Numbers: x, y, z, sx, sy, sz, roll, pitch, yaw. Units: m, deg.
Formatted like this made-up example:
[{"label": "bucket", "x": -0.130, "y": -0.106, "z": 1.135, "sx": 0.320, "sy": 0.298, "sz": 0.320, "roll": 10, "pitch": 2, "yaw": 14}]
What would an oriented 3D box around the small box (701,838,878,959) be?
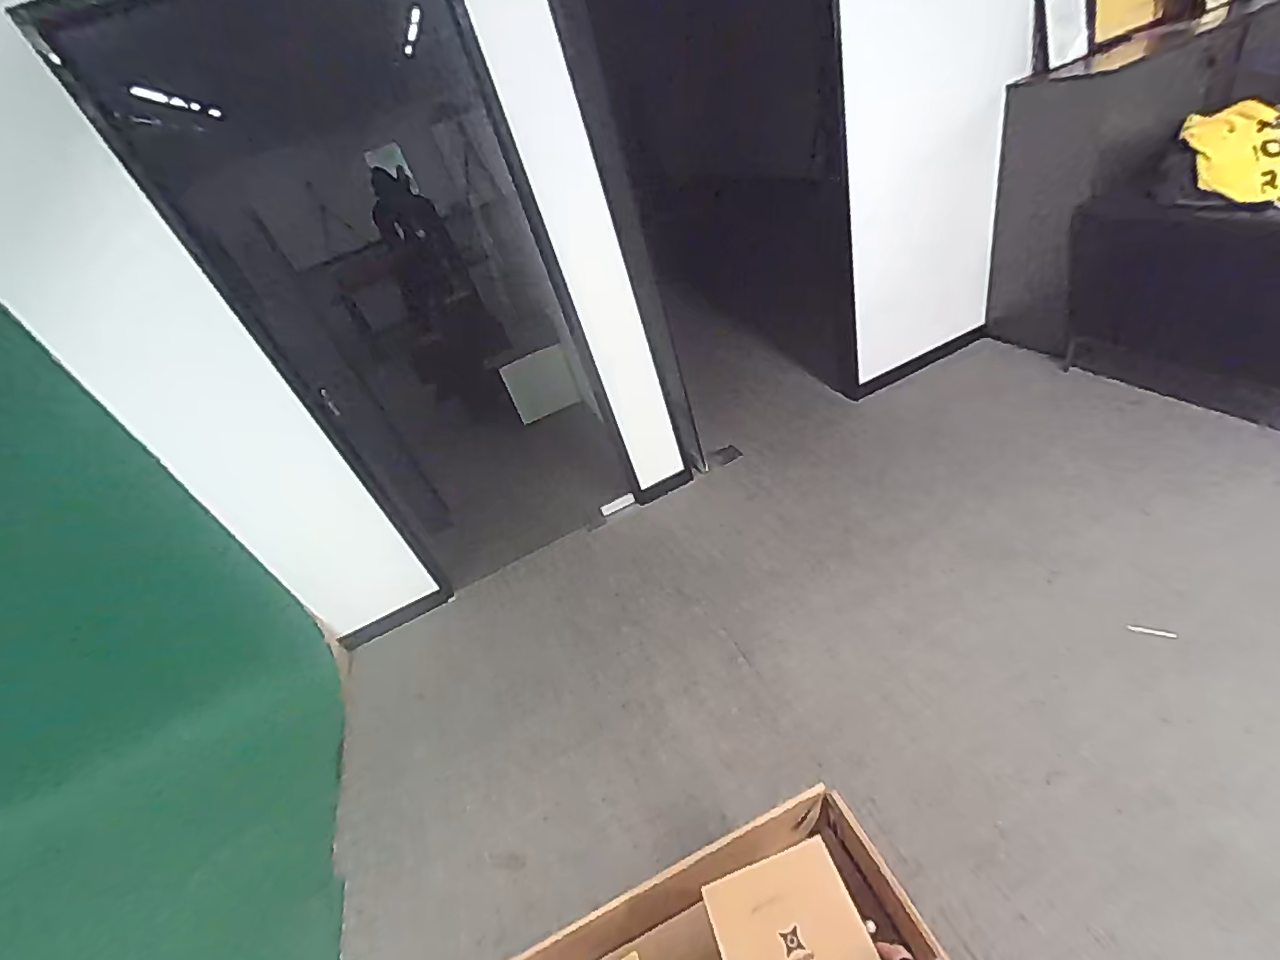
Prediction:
[{"label": "small box", "x": 0.191, "y": 0.578, "z": 0.645, "sx": 0.168, "sy": 0.176, "sz": 0.179, "roll": -21, "pitch": 36, "yaw": -3}]
